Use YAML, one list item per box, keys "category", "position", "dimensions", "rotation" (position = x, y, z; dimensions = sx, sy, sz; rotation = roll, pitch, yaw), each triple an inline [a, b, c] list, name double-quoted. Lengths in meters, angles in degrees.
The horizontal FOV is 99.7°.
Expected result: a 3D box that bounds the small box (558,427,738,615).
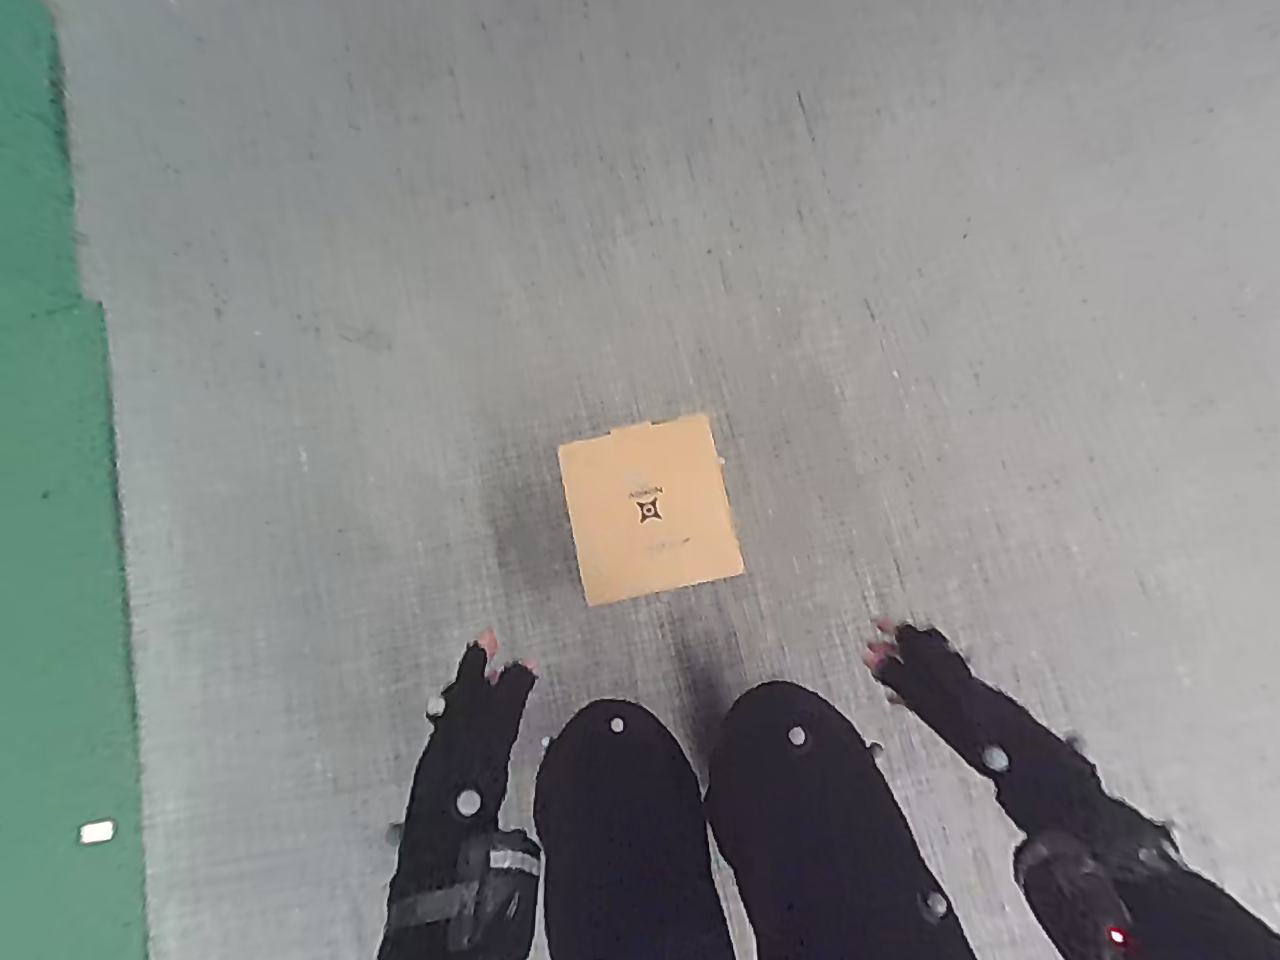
- category: "small box"
  position: [0.011, 0.054, 0.642]
  dimensions: [0.168, 0.176, 0.179]
  rotation: [-12, 80, 3]
